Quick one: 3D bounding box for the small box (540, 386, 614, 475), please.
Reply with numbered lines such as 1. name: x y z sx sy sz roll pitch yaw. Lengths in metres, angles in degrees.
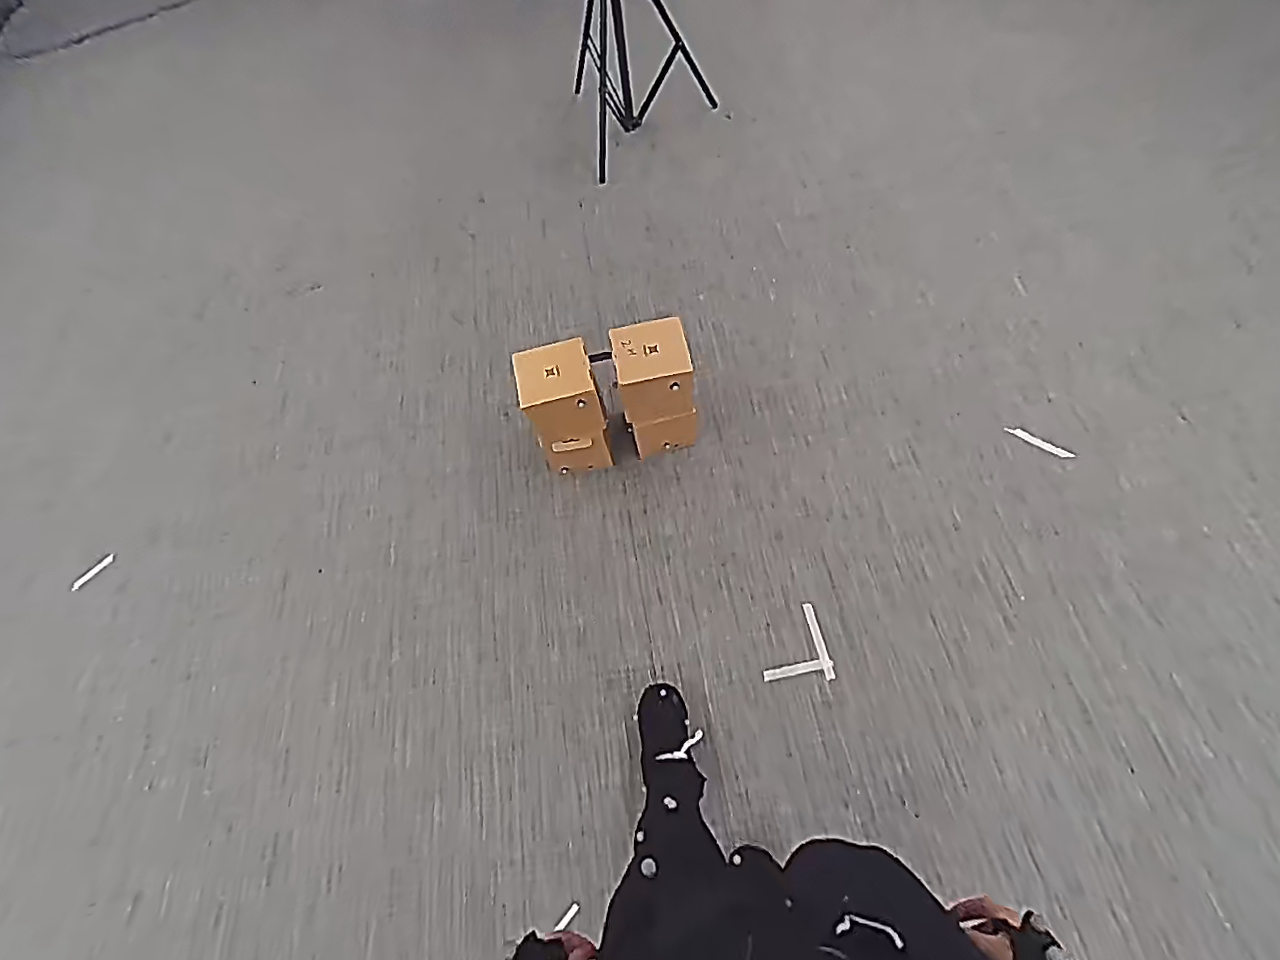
1. small box: -0.169 -0.127 1.469 0.168 0.176 0.179 -9 63 3
